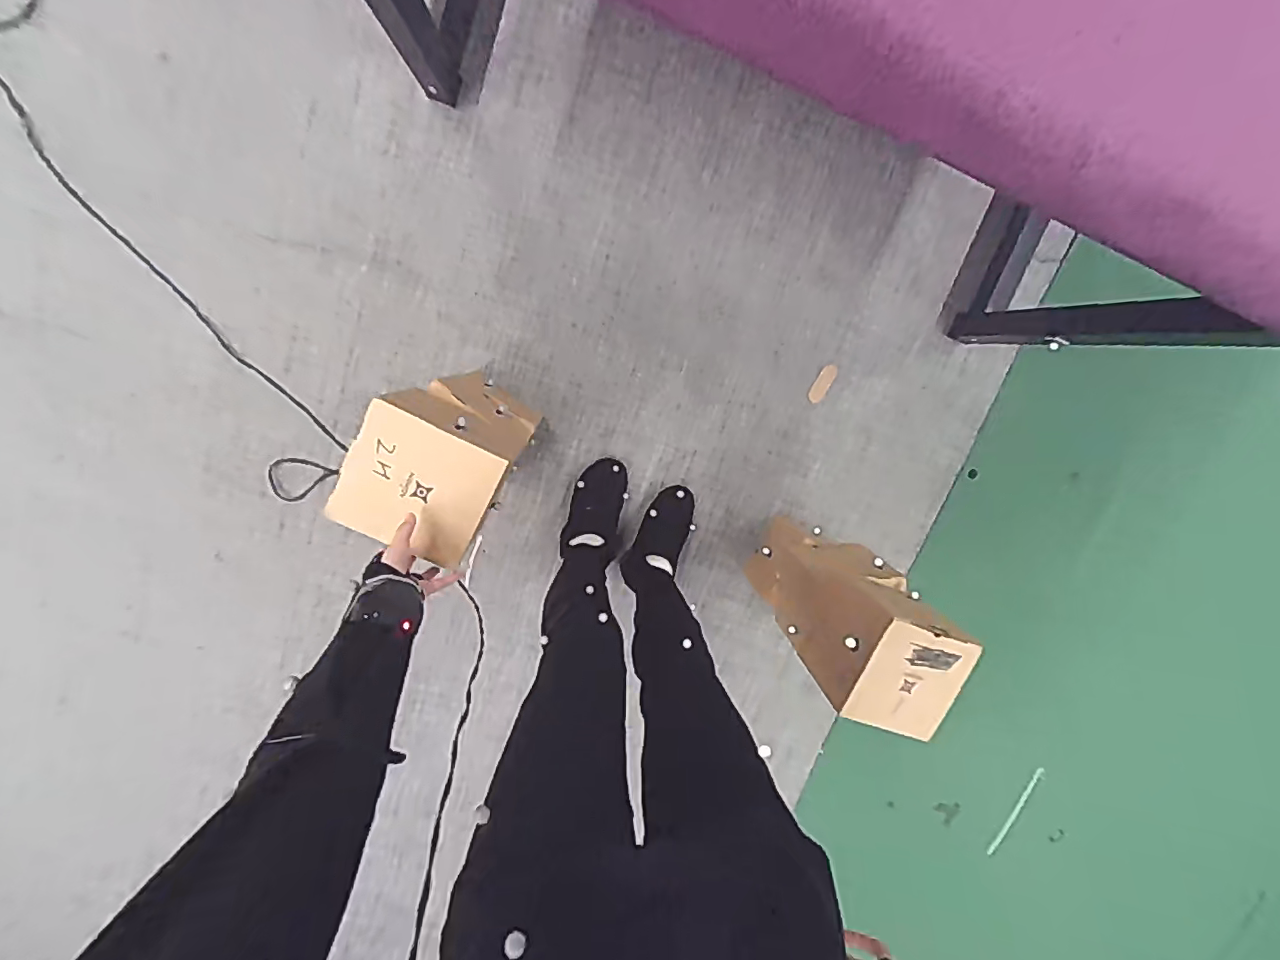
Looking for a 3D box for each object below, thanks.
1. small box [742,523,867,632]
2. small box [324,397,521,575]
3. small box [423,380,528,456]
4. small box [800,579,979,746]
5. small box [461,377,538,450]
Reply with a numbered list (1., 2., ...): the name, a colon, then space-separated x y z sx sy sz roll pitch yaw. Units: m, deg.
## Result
1. small box: 0.353 0.213 1.198 0.179 0.176 0.168 29 100 -12
2. small box: -0.280 -0.004 0.739 0.179 0.176 0.168 28 98 -10
3. small box: -0.303 -0.048 0.897 0.168 0.176 0.179 40 96 -12
4. small box: 0.389 0.286 0.880 0.168 0.176 0.179 21 102 -11
5. small box: -0.312 -0.086 1.054 0.168 0.176 0.179 34 99 -13
